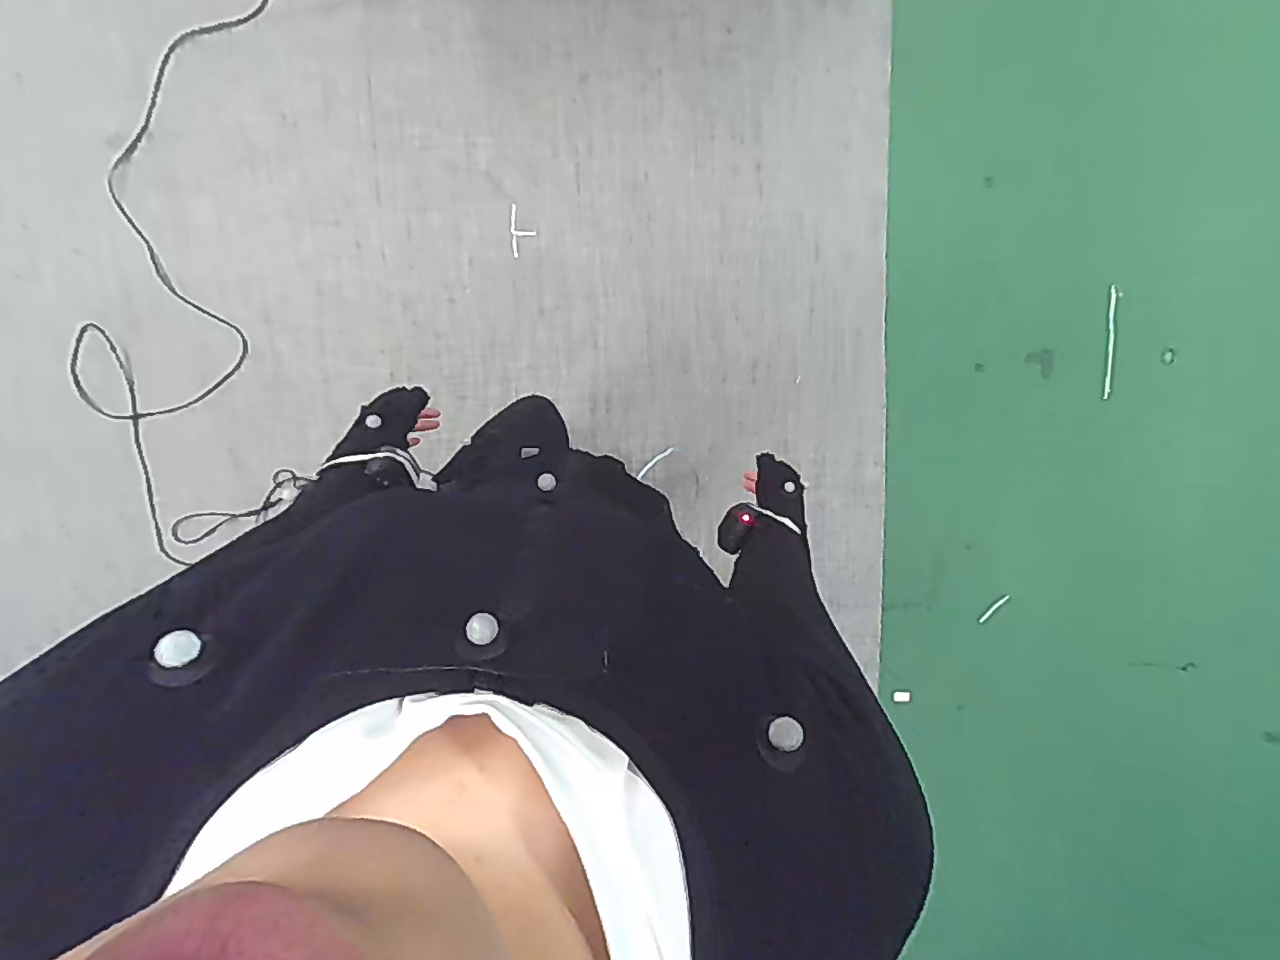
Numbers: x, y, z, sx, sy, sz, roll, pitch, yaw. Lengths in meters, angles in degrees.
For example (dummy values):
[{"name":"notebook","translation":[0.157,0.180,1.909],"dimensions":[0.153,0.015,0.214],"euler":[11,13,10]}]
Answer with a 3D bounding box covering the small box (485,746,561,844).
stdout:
[{"name":"small box","translation":[-0.301,0.827,1.419],"dimensions":[0.168,0.176,0.179],"euler":[-8,97,-5]}]
